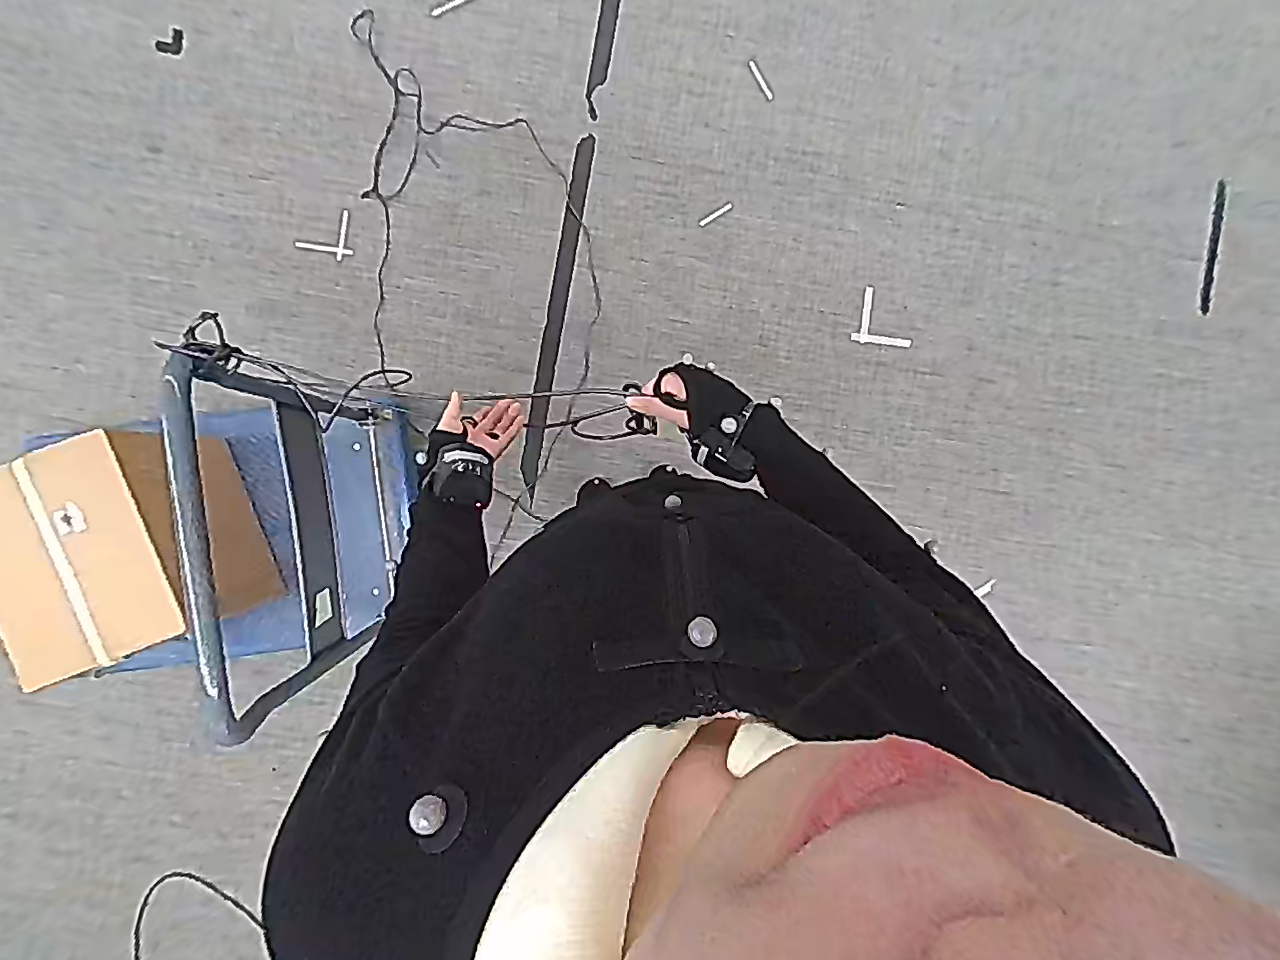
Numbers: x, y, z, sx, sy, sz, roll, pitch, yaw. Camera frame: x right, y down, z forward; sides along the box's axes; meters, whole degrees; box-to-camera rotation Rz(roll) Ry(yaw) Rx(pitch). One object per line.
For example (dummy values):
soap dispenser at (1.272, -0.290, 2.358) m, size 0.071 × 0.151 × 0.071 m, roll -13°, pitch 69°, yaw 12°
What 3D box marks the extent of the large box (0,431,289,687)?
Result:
large box at (-1.044, 0.145, 1.139) m, size 0.320 × 0.320 × 0.408 m, roll -21°, pitch 91°, yaw -2°
